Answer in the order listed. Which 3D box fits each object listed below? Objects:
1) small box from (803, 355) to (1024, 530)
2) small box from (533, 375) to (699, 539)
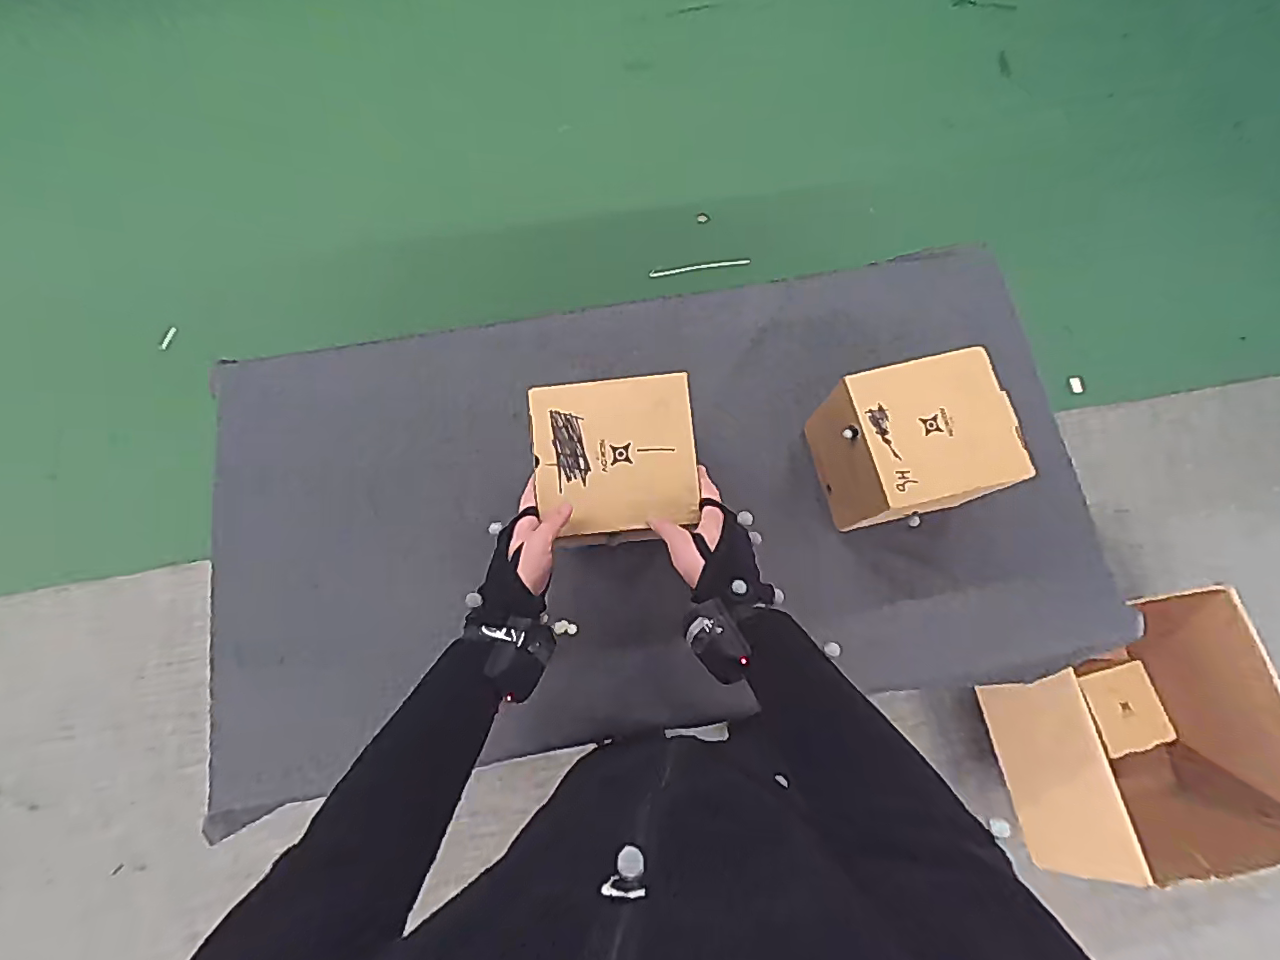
[{"bbox_3d":[0.342,-0.040,0.714,0.179,0.176,0.168,-15,78,-3],"label":"small box"},{"bbox_3d":[-0.020,-0.016,0.646,0.179,0.176,0.168,-2,82,4],"label":"small box"}]
